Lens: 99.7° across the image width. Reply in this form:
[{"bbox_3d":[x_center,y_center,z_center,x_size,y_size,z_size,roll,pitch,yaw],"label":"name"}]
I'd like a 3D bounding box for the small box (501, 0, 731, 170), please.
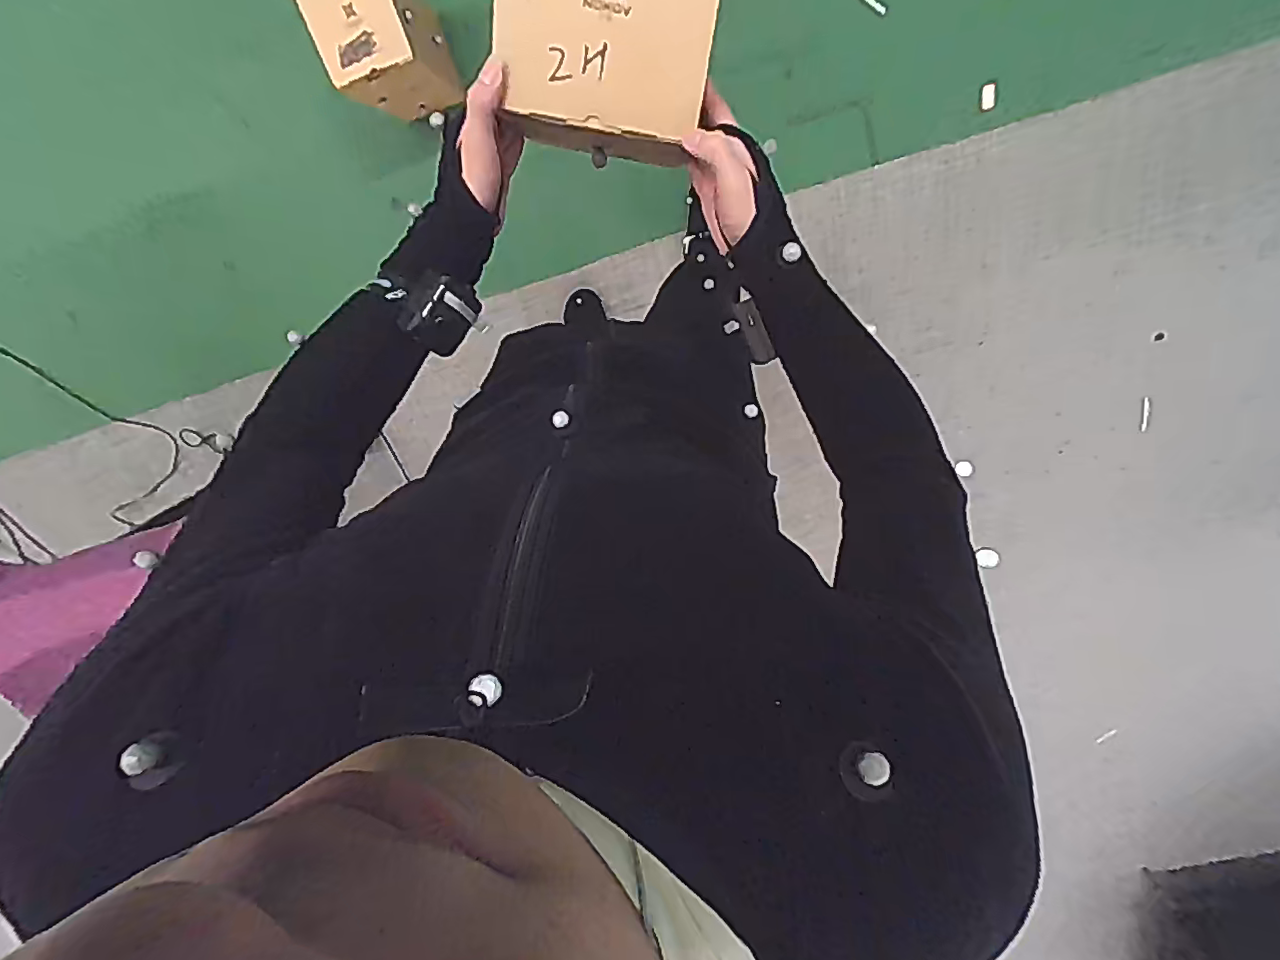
[{"bbox_3d":[-0.016,-0.390,0.469,0.168,0.176,0.179,8,114,-4],"label":"small box"}]

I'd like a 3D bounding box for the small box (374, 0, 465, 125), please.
[{"bbox_3d":[-0.510,-0.915,1.185,0.168,0.176,0.179,-15,114,7],"label":"small box"}]

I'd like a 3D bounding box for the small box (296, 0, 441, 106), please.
[{"bbox_3d":[-0.511,-0.846,1.036,0.168,0.176,0.179,-15,113,7],"label":"small box"}]
